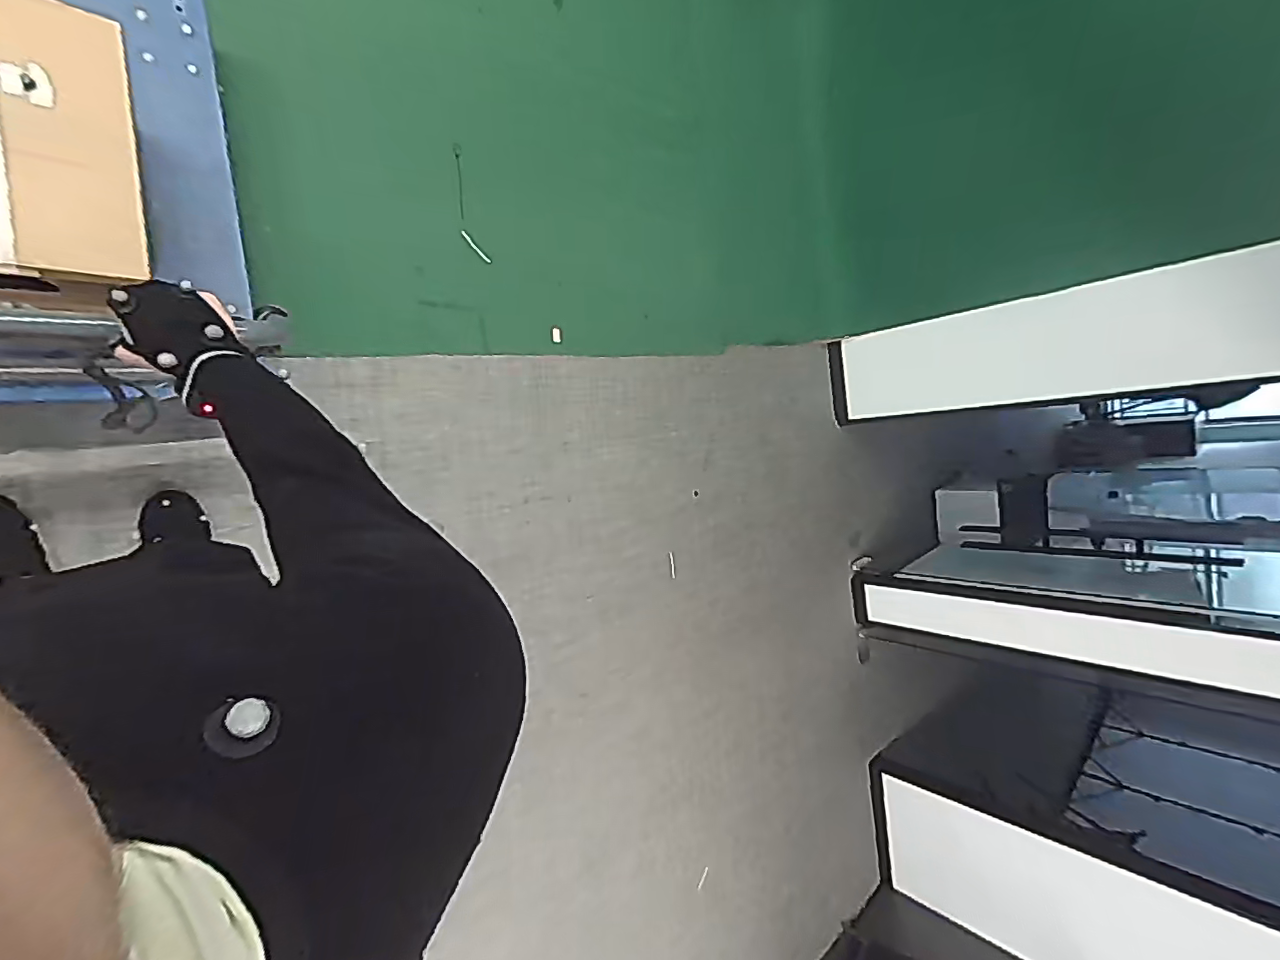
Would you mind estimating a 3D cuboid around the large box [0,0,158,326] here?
[{"bbox_3d":[-1.022,-0.493,0.880,0.320,0.320,0.408,-7,92,-41],"label":"large box"}]
